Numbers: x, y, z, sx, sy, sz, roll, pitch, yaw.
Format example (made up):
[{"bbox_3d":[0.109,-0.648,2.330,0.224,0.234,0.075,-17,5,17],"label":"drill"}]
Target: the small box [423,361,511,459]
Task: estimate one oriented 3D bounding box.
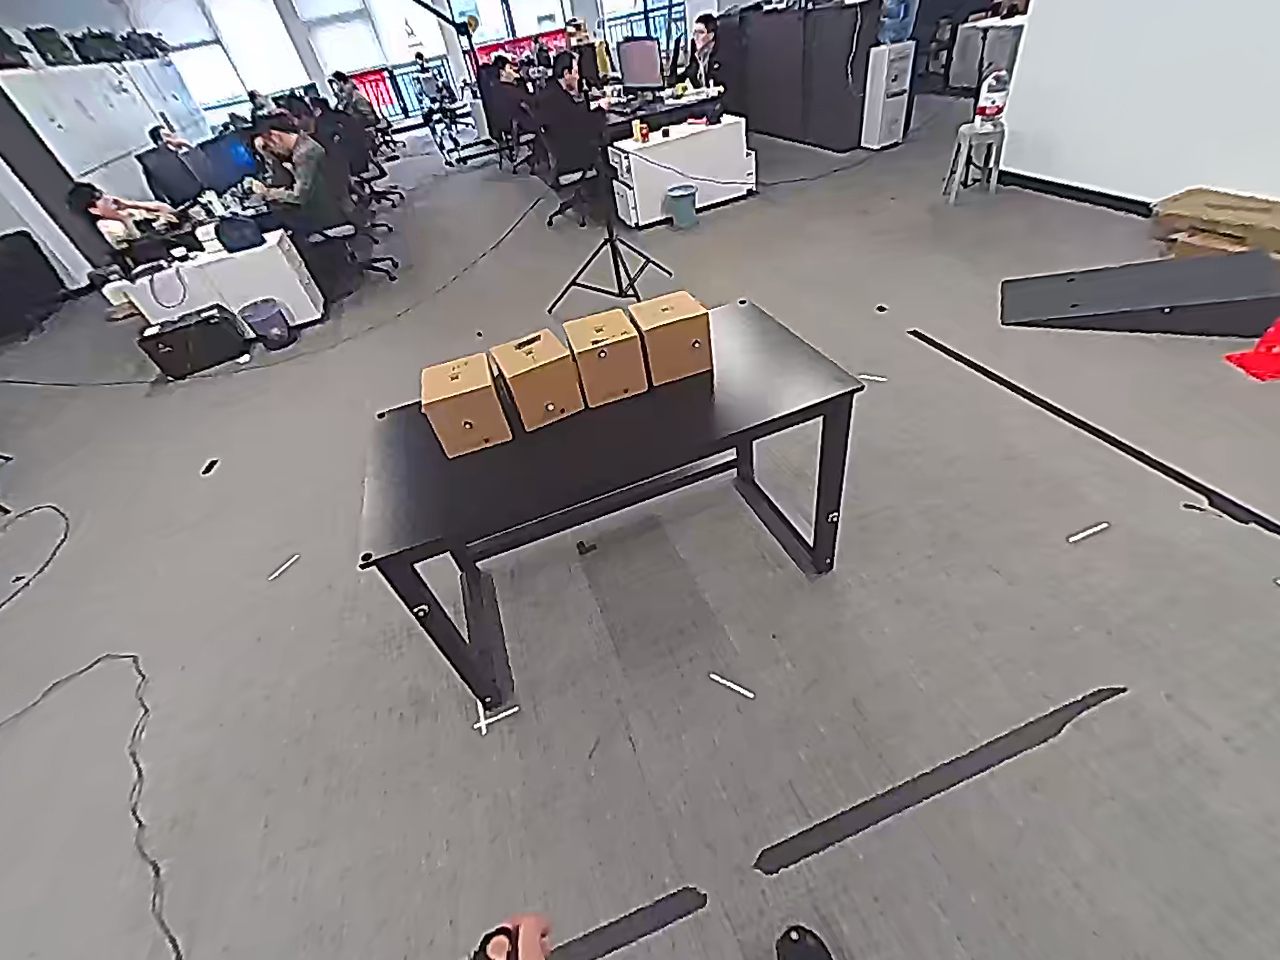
[{"bbox_3d":[-0.436,-0.172,1.373,0.168,0.176,0.179,-18,41,-7],"label":"small box"}]
